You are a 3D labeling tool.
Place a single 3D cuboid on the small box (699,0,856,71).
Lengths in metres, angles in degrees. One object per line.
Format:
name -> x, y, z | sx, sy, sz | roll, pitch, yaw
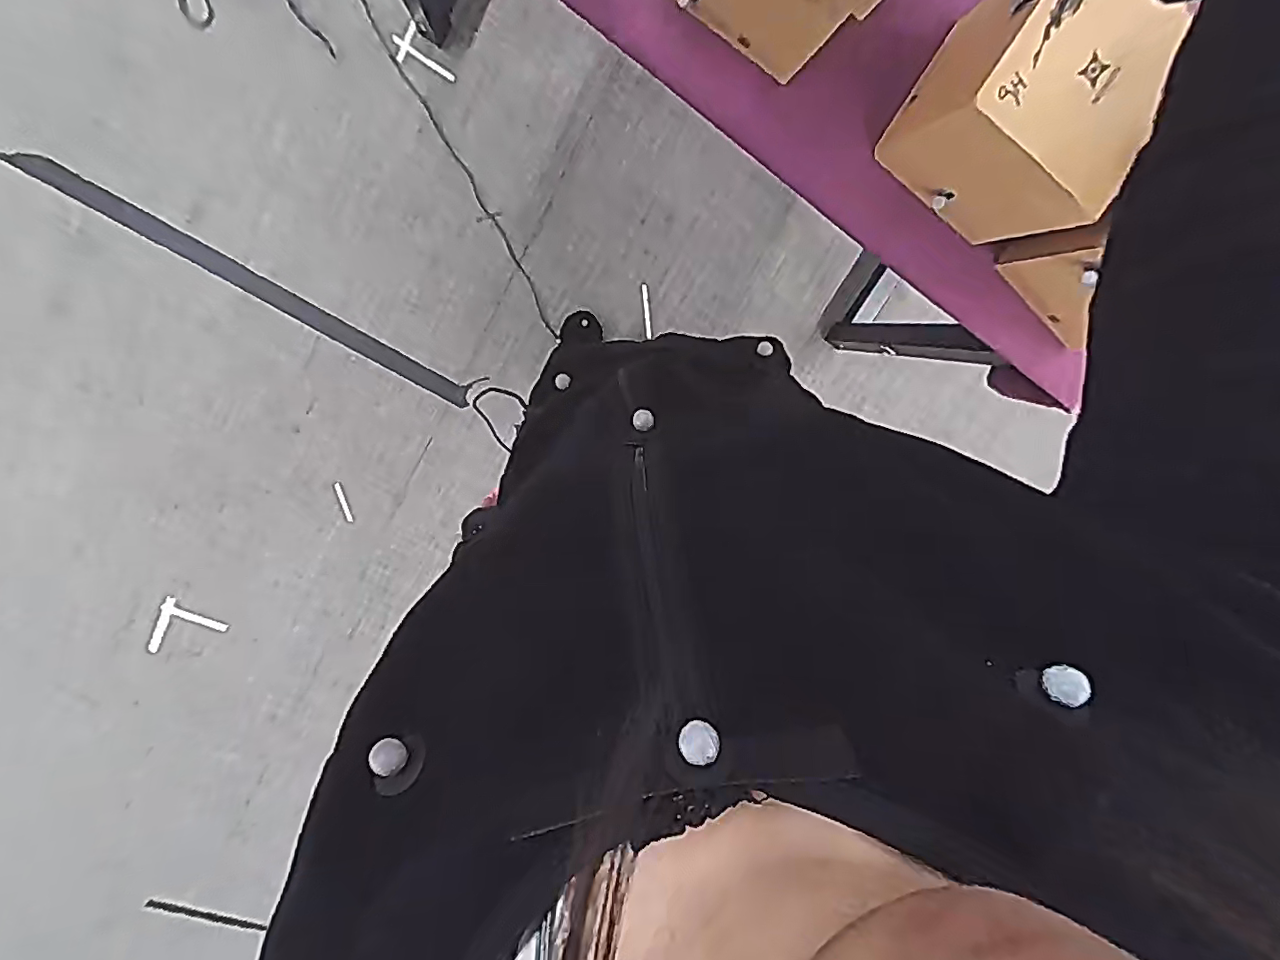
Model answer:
small box -> 0.143, -0.515, 0.470 | 0.168, 0.176, 0.179 | 27, 100, -15
